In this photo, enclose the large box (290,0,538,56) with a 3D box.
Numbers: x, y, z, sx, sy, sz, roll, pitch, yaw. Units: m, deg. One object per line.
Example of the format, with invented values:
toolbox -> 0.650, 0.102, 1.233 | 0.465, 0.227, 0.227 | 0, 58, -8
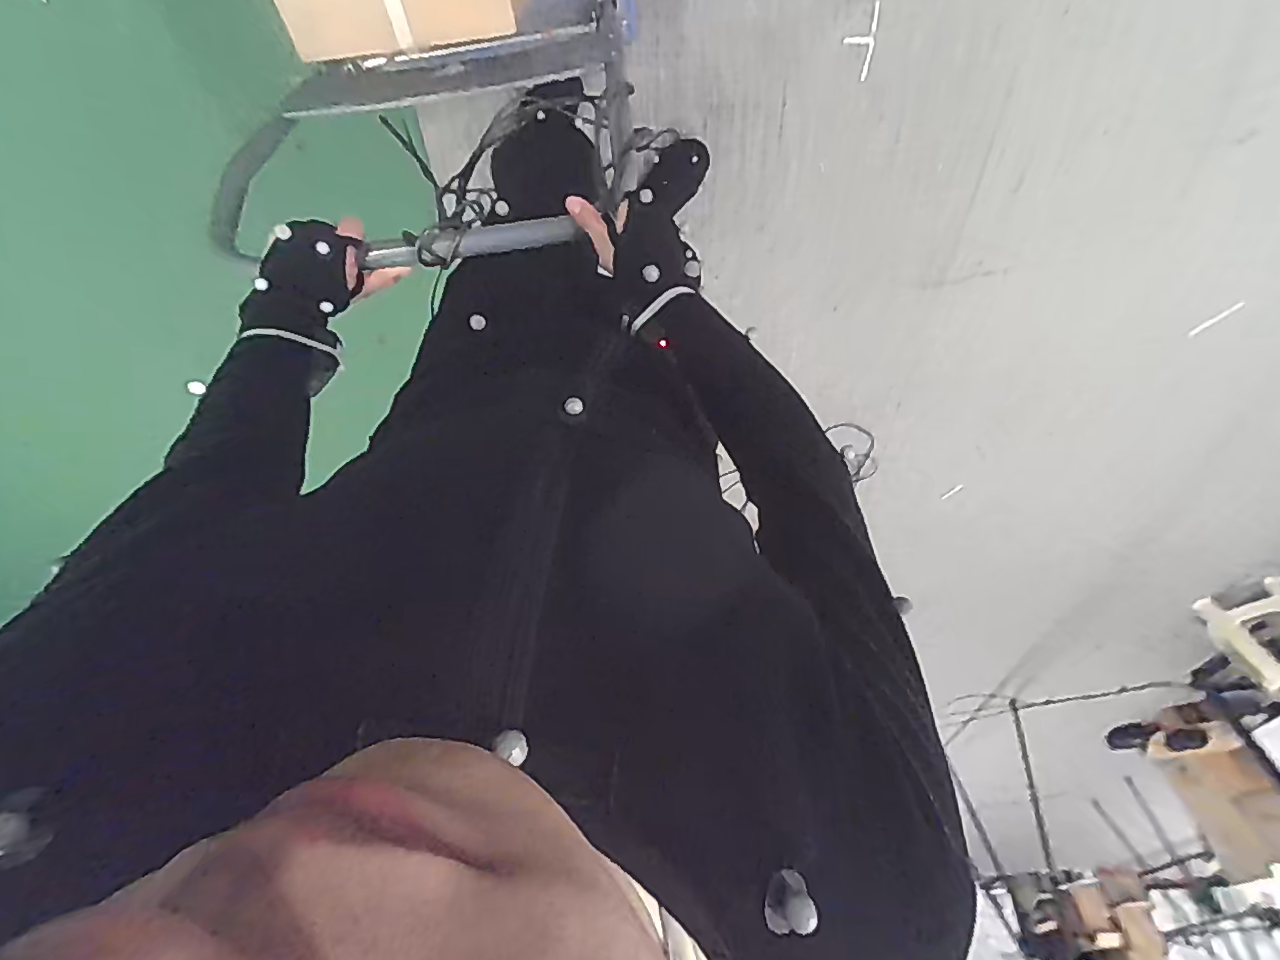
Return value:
large box -> -0.334, -0.855, 0.709 | 0.320, 0.320, 0.408 | -6, 138, 3
